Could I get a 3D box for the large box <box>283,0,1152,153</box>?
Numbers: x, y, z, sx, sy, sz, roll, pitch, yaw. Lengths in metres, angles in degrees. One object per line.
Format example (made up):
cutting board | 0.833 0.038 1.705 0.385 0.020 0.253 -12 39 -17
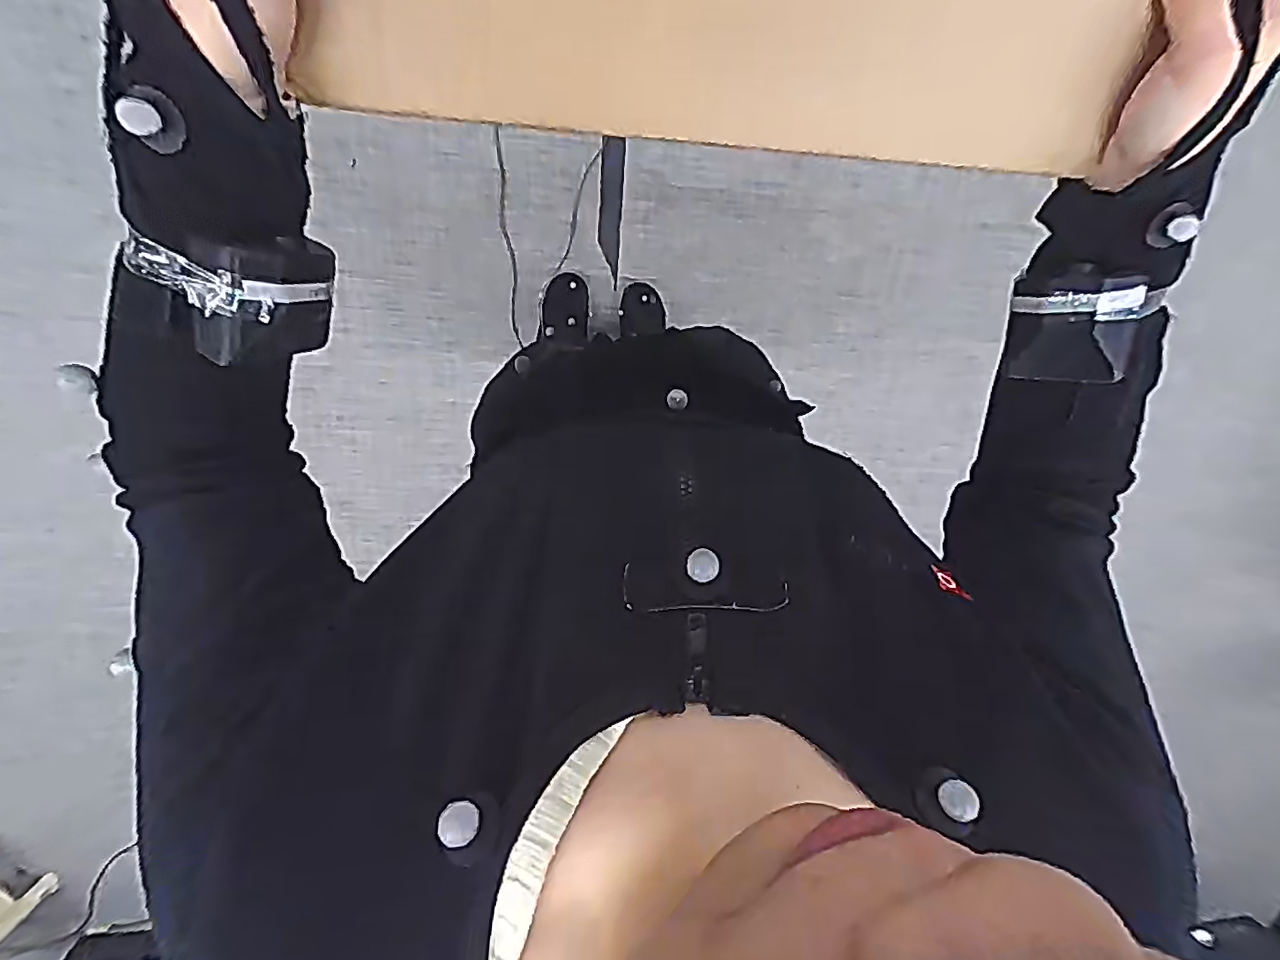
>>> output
large box | 0.038 -0.390 0.296 0.408 0.320 0.320 1 129 -7
